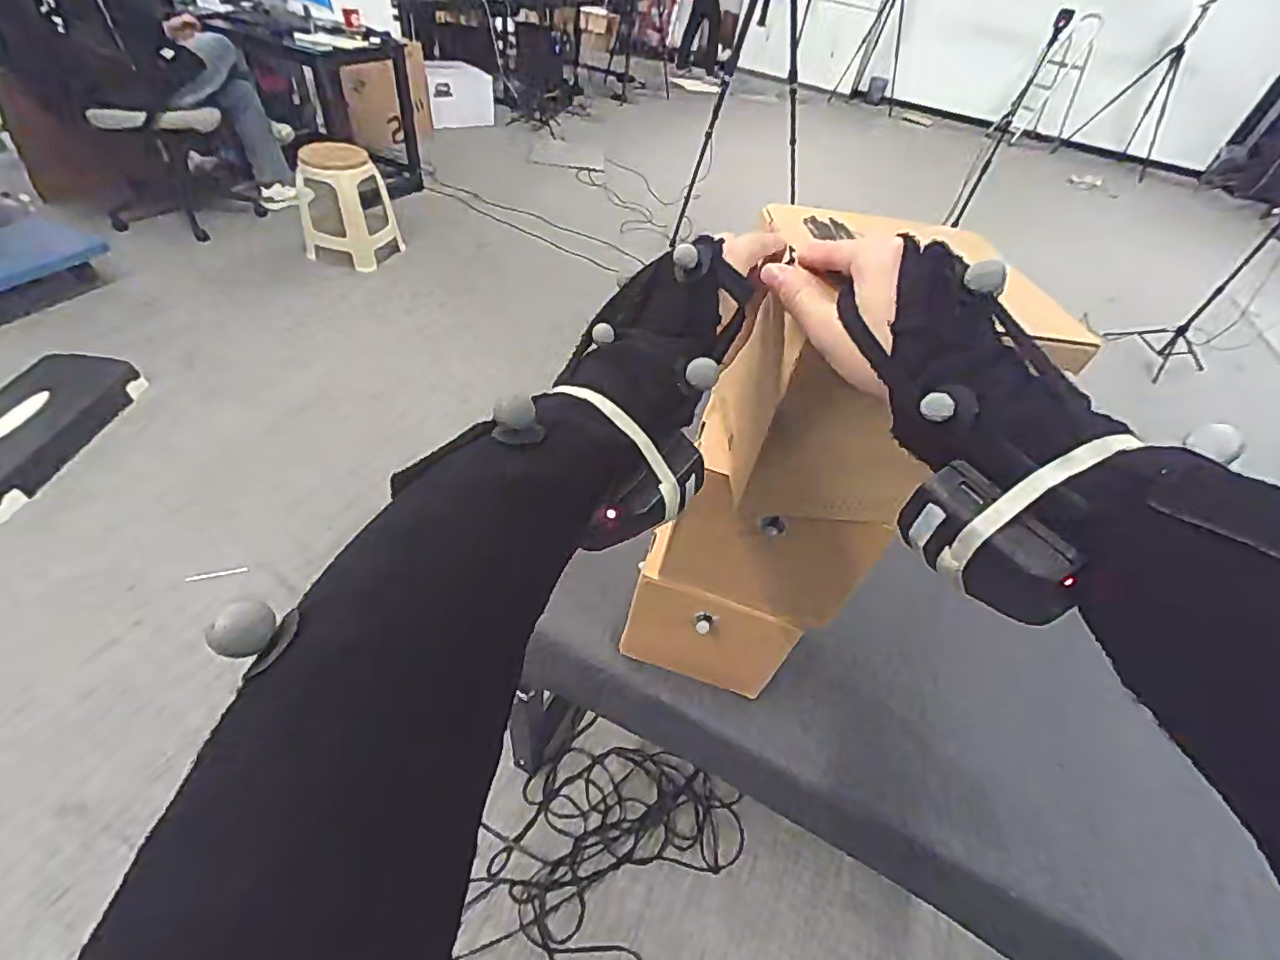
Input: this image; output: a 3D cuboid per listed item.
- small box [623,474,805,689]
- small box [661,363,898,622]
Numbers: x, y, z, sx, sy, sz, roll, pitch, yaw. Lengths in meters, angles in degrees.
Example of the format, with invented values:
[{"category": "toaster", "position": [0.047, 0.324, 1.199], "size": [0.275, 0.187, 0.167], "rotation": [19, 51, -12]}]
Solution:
[{"category": "small box", "position": [0.091, 0.126, 0.651], "size": [0.179, 0.176, 0.168], "rotation": [17, 45, 6]}, {"category": "small box", "position": [0.130, 0.015, 0.538], "size": [0.179, 0.176, 0.168], "rotation": [18, 46, 6]}]
